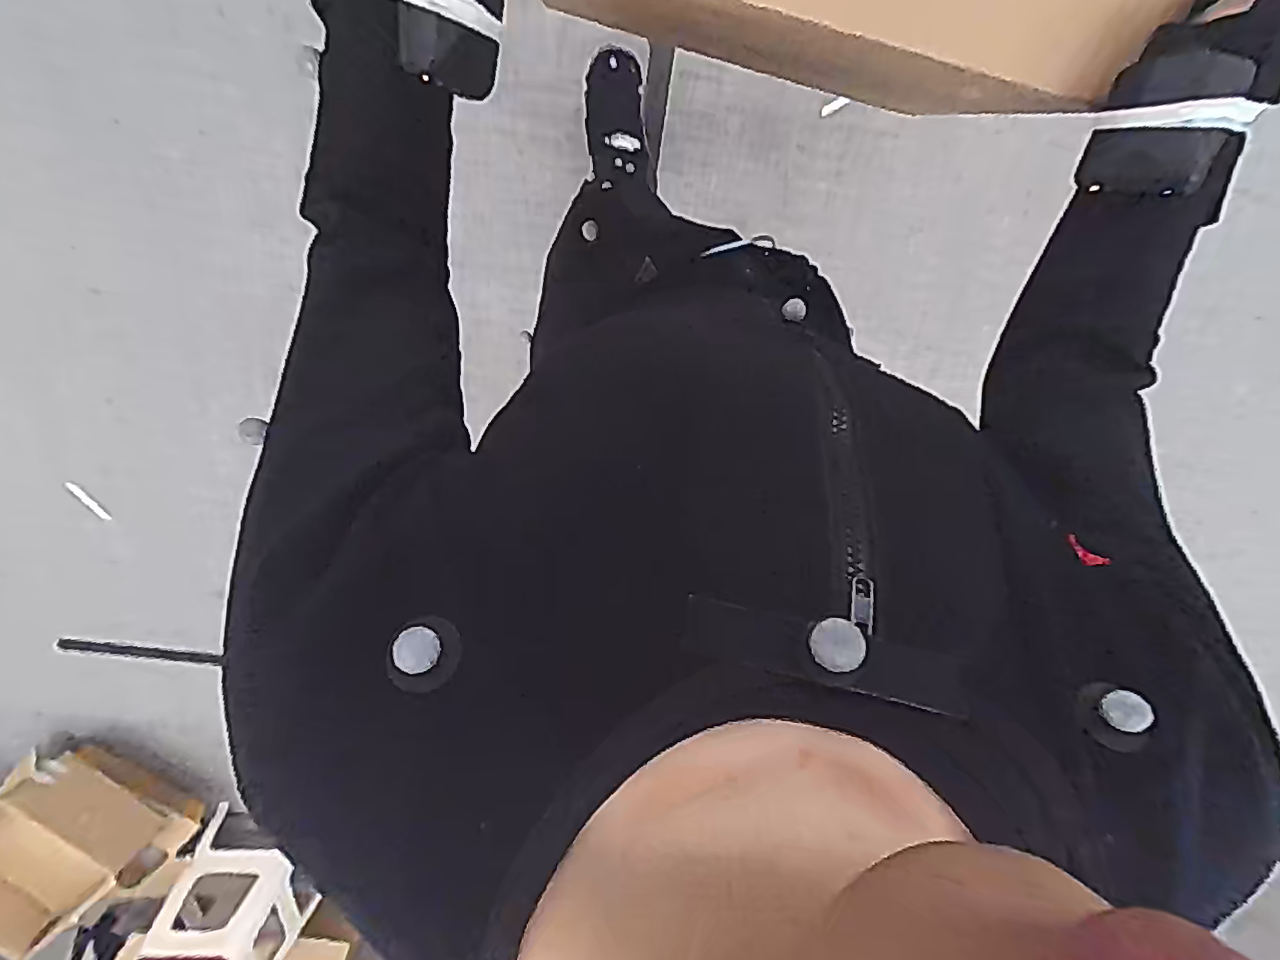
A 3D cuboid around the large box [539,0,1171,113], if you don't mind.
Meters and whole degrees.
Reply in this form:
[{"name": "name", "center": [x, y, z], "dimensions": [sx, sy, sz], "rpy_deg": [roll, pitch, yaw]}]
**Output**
[{"name": "large box", "center": [0.132, -0.473, 0.361], "dimensions": [0.408, 0.320, 0.320], "rpy_deg": [10, 124, -8]}]
